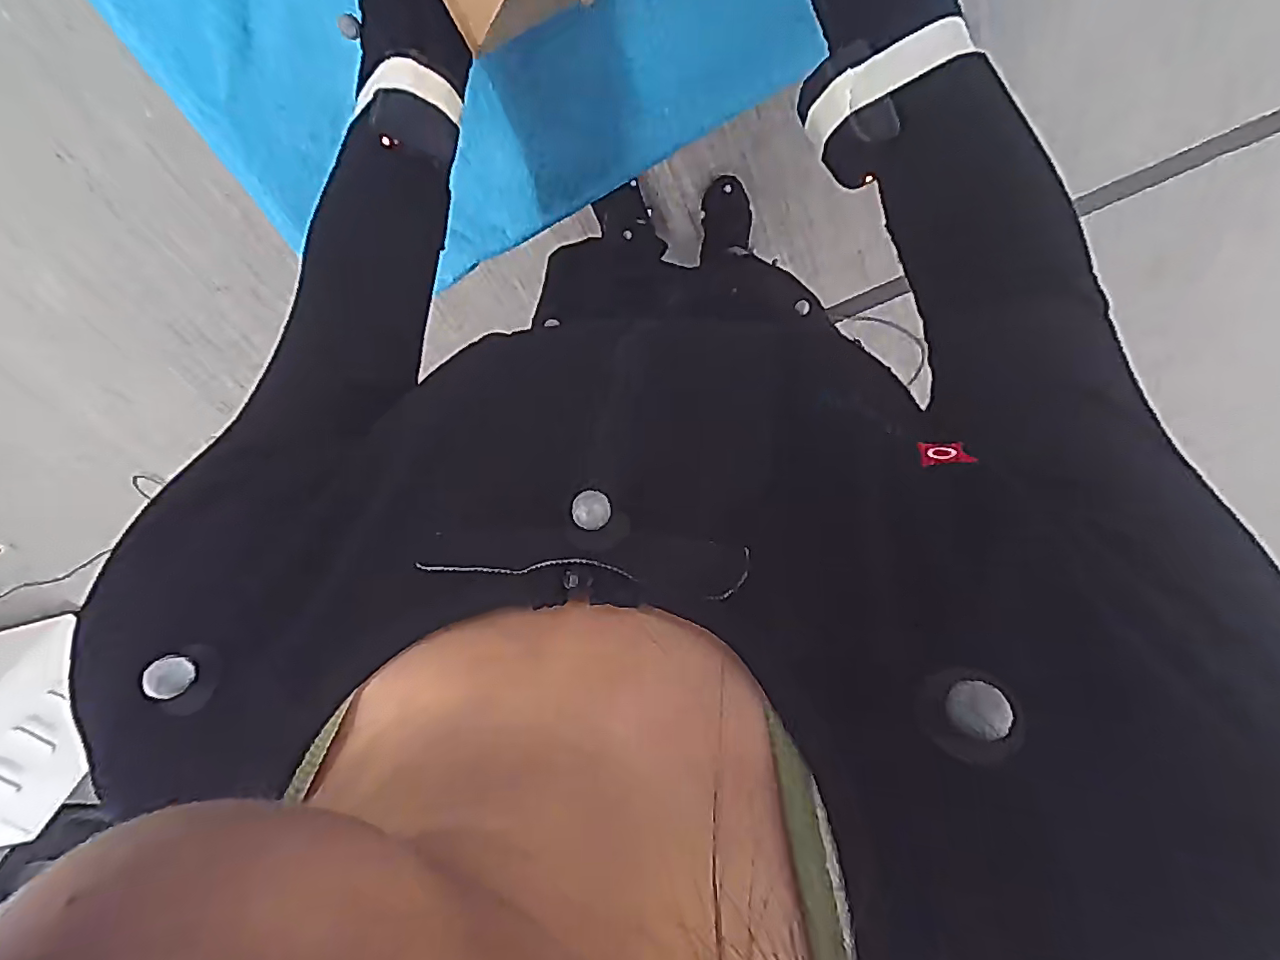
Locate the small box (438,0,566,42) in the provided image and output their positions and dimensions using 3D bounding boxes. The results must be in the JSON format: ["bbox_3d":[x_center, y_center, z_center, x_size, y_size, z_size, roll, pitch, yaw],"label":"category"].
[{"bbox_3d":[-0.074,-0.415,0.320,0.168,0.176,0.179,-36,123,-10],"label":"small box"}]
